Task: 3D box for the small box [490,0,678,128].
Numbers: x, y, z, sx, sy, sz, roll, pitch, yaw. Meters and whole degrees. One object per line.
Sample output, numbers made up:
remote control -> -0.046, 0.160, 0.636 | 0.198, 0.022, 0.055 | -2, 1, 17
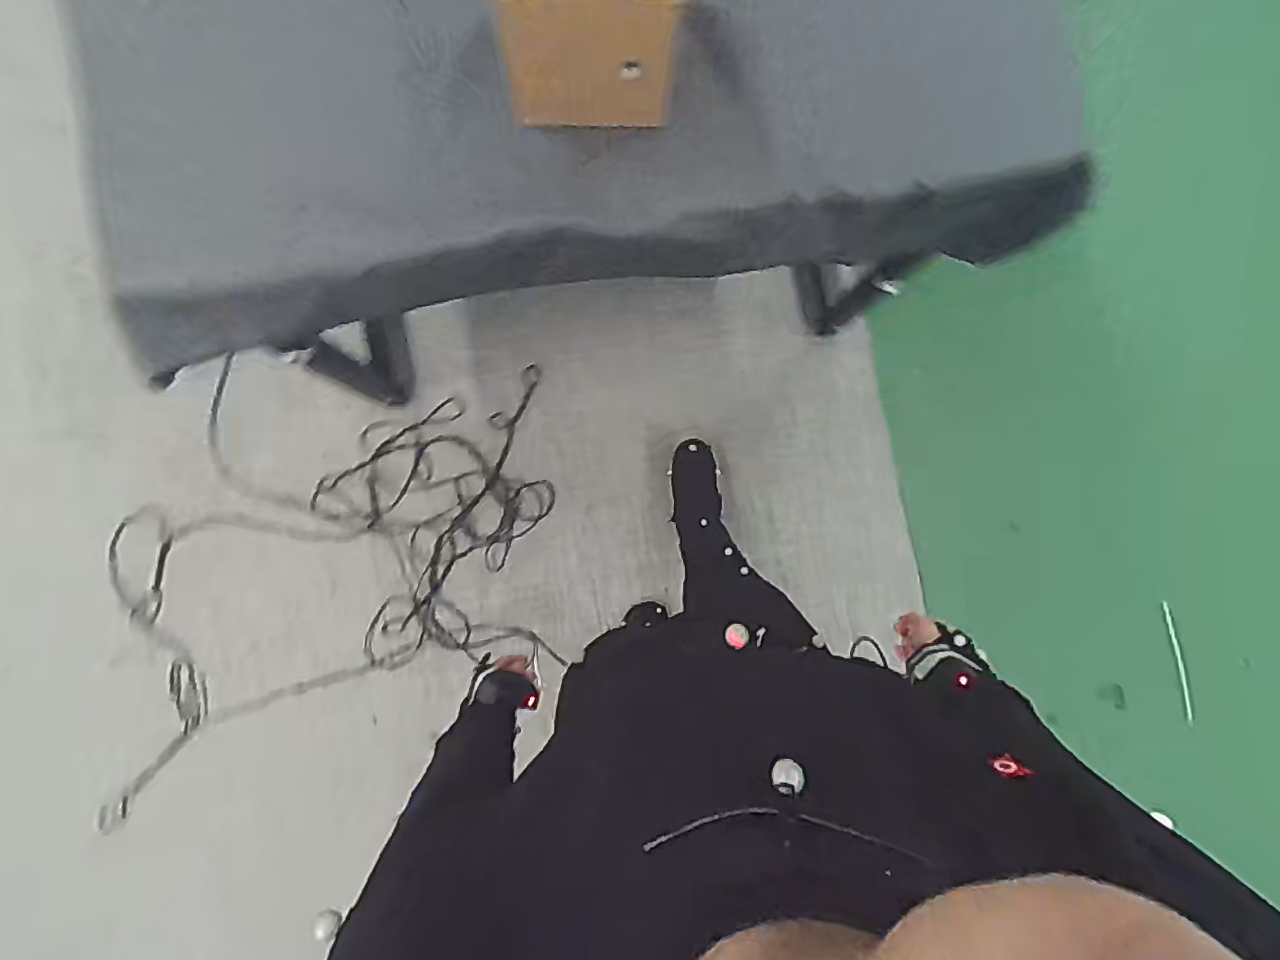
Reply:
small box -> -0.059, -0.514, 0.583 | 0.179, 0.176, 0.168 | -3, 85, -3
